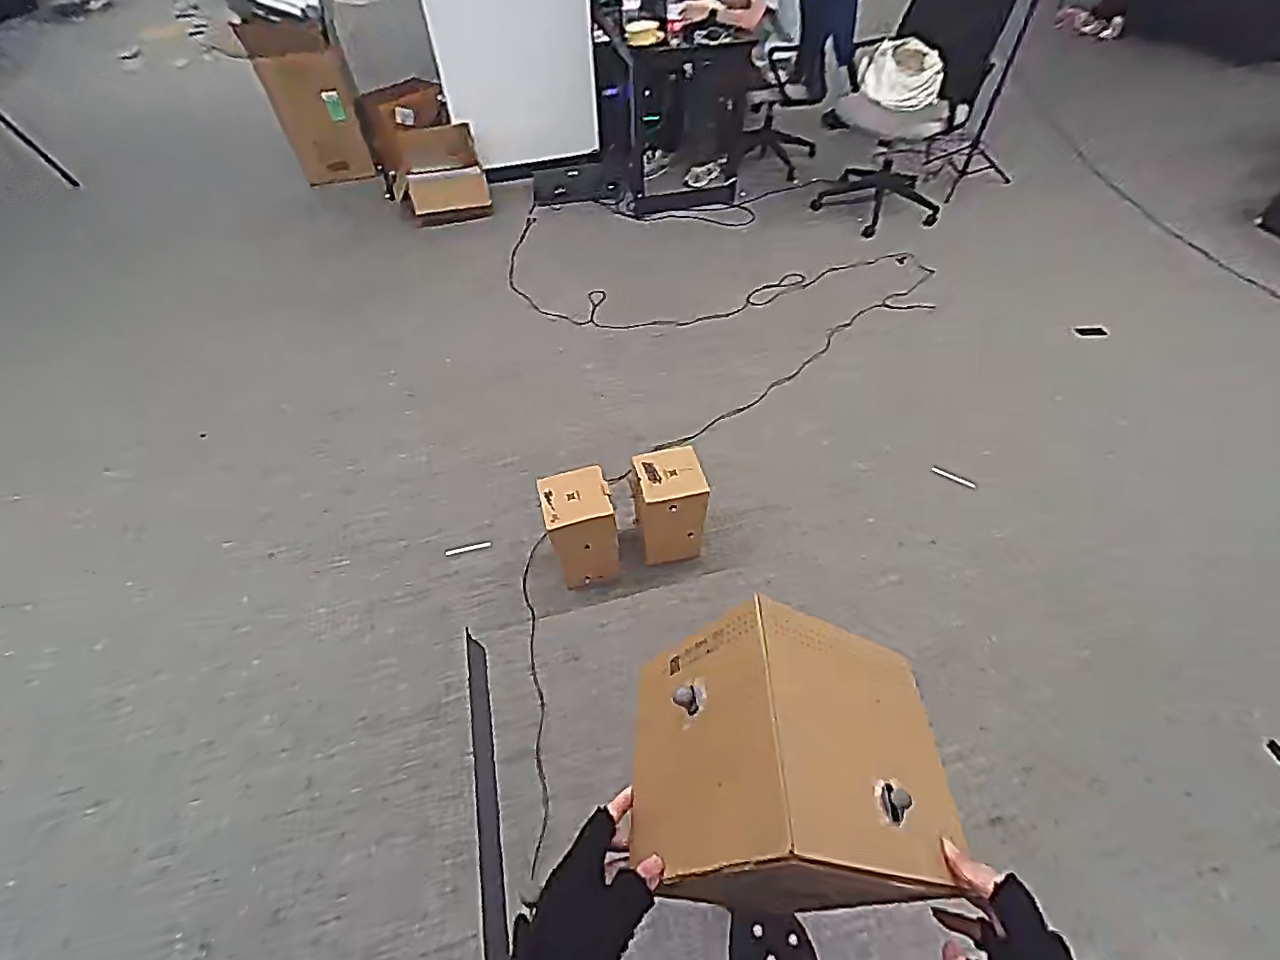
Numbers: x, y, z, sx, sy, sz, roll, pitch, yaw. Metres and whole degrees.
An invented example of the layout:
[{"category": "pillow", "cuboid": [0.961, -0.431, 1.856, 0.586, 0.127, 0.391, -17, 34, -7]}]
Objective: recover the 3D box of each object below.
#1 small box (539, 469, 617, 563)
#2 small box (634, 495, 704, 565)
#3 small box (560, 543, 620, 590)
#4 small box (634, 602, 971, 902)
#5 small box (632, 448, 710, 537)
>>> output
[{"category": "small box", "cuboid": [-0.162, 0.100, 1.456, 0.179, 0.176, 0.168, -13, 52, -8]}, {"category": "small box", "cuboid": [0.084, 0.139, 1.628, 0.179, 0.176, 0.168, -10, 52, -7]}, {"category": "small box", "cuboid": [-0.157, 0.197, 1.588, 0.168, 0.176, 0.179, -13, 53, -7]}, {"category": "small box", "cuboid": [0.112, 0.220, 0.435, 0.179, 0.168, 0.176, 26, 41, -22]}, {"category": "small box", "cuboid": [0.081, 0.039, 1.496, 0.179, 0.176, 0.168, -10, 53, -9]}]
